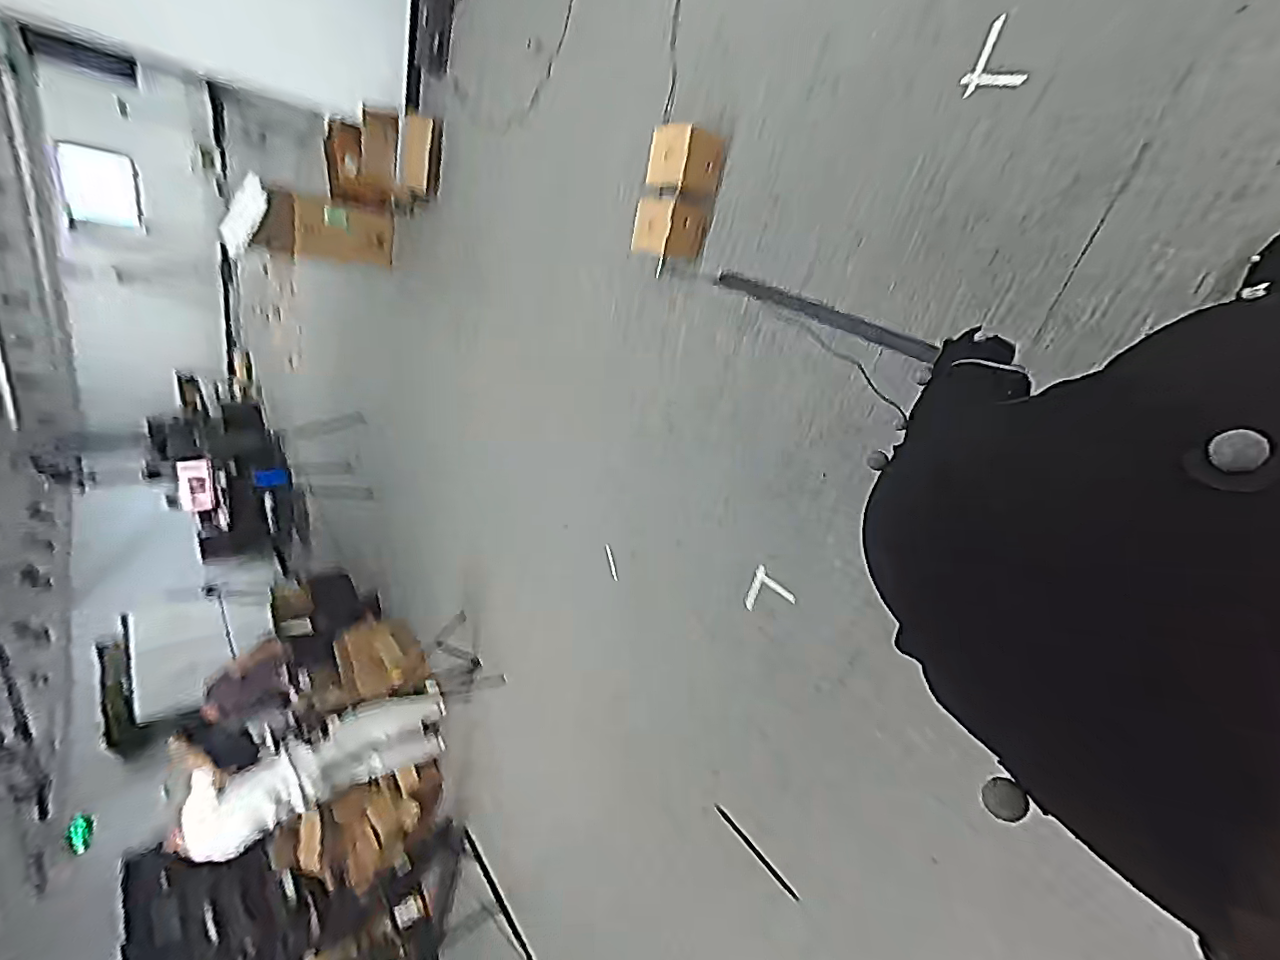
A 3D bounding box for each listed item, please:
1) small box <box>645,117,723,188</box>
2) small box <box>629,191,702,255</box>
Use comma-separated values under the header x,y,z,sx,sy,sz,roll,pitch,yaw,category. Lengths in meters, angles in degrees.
x,y,z,sx,sy,sz,roll,pitch,yaw,category
0.146,-1.088,1.809,0.179,0.176,0.168,28,116,40,small box
0.091,-0.898,1.897,0.179,0.176,0.168,33,119,40,small box
